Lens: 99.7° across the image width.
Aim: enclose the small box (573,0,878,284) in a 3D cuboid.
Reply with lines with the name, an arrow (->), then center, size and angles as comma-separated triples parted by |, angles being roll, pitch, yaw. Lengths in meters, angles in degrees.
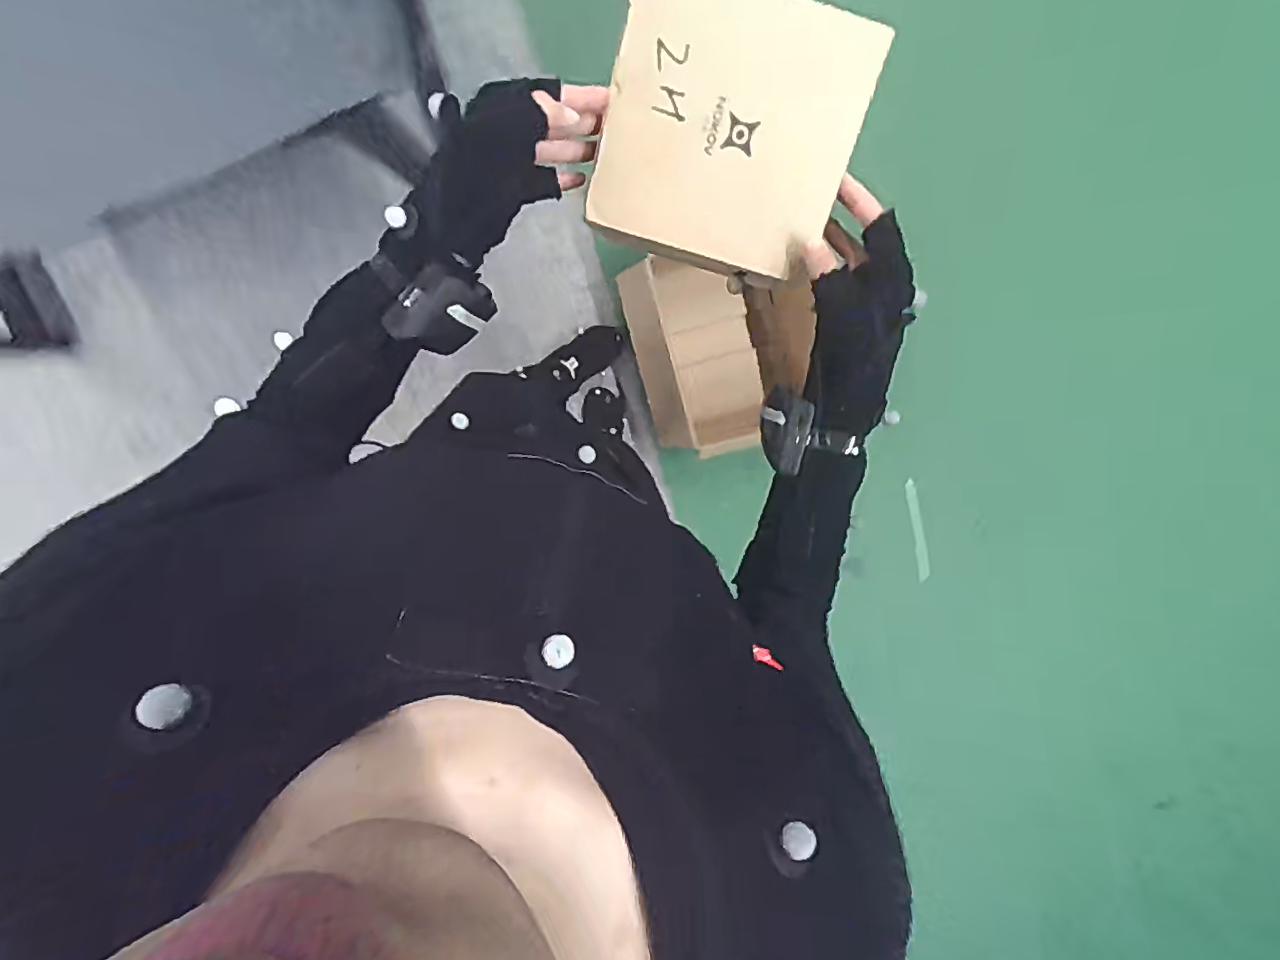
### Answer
small box -> 0.056, -0.271, 0.451 | 0.179, 0.176, 0.168 | 14, 109, -3
